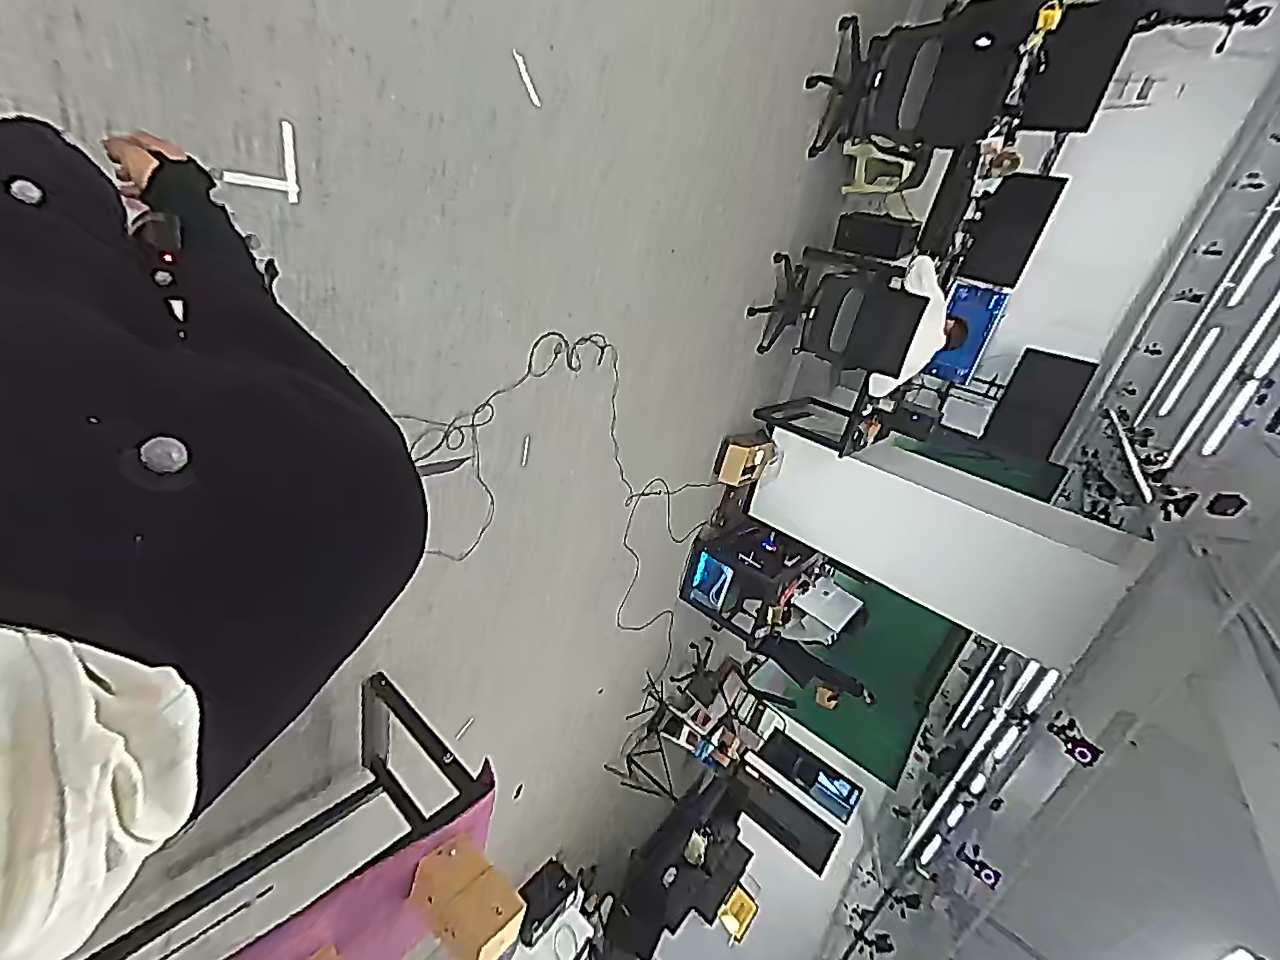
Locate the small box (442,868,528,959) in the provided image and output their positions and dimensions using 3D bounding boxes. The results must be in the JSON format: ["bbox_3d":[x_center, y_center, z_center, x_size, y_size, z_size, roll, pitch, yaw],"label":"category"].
[{"bbox_3d":[-0.481,1.364,1.675,0.179,0.176,0.168,-8,120,-53],"label":"small box"}]

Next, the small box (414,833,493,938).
[{"bbox_3d":[-0.611,1.308,1.759,0.168,0.176,0.179,-5,117,-55],"label":"small box"}]
